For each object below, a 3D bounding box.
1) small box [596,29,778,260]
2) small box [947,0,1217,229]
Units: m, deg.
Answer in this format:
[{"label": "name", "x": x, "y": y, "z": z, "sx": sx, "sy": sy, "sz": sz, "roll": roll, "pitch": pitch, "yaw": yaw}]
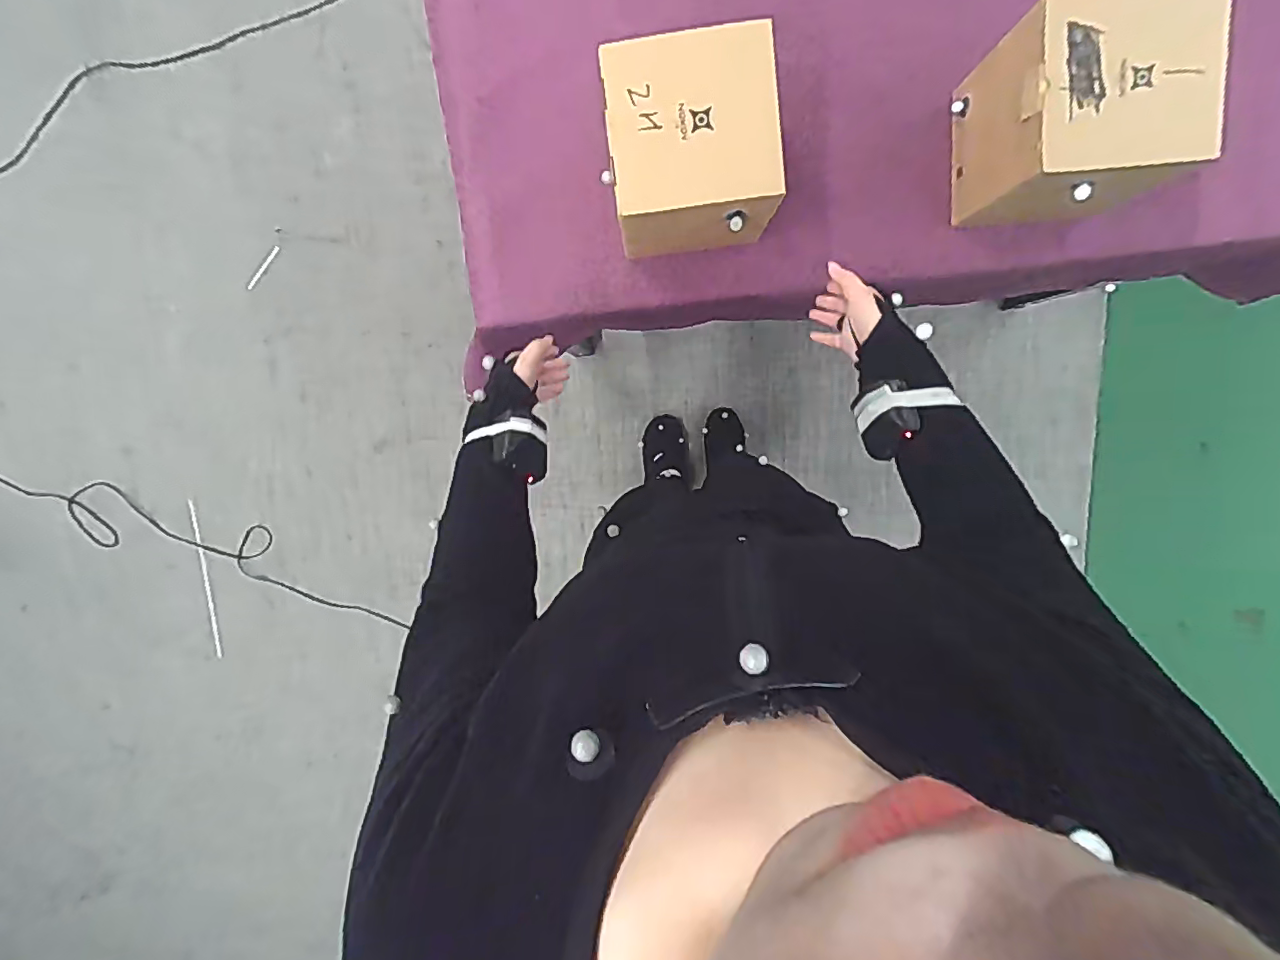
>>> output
[{"label": "small box", "x": 0.051, "y": -0.369, "z": 0.629, "sx": 0.179, "sy": 0.176, "sz": 0.168, "roll": -6, "pitch": 97, "yaw": 3}, {"label": "small box", "x": 0.473, "y": -0.397, "z": 0.609, "sx": 0.179, "sy": 0.176, "sz": 0.168, "roll": -4, "pitch": 98, "yaw": 2}]
